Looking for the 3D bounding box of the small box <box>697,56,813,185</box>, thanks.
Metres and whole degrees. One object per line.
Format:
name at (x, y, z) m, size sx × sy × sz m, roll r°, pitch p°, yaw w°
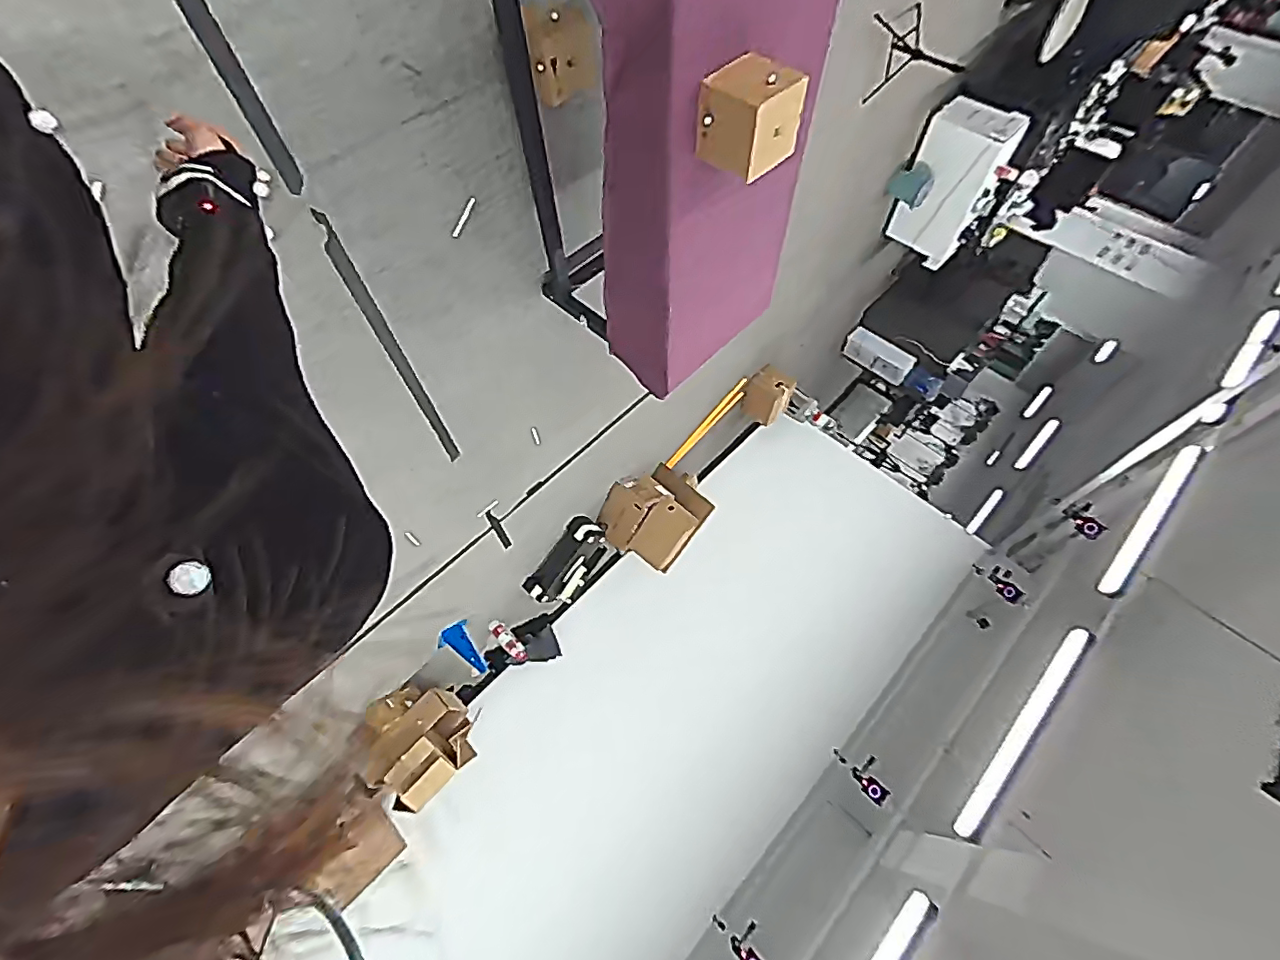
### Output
small box at (0.251, -0.810, 1.214) m, size 0.179 × 0.176 × 0.168 m, roll -41°, pitch 157°, yaw -19°
